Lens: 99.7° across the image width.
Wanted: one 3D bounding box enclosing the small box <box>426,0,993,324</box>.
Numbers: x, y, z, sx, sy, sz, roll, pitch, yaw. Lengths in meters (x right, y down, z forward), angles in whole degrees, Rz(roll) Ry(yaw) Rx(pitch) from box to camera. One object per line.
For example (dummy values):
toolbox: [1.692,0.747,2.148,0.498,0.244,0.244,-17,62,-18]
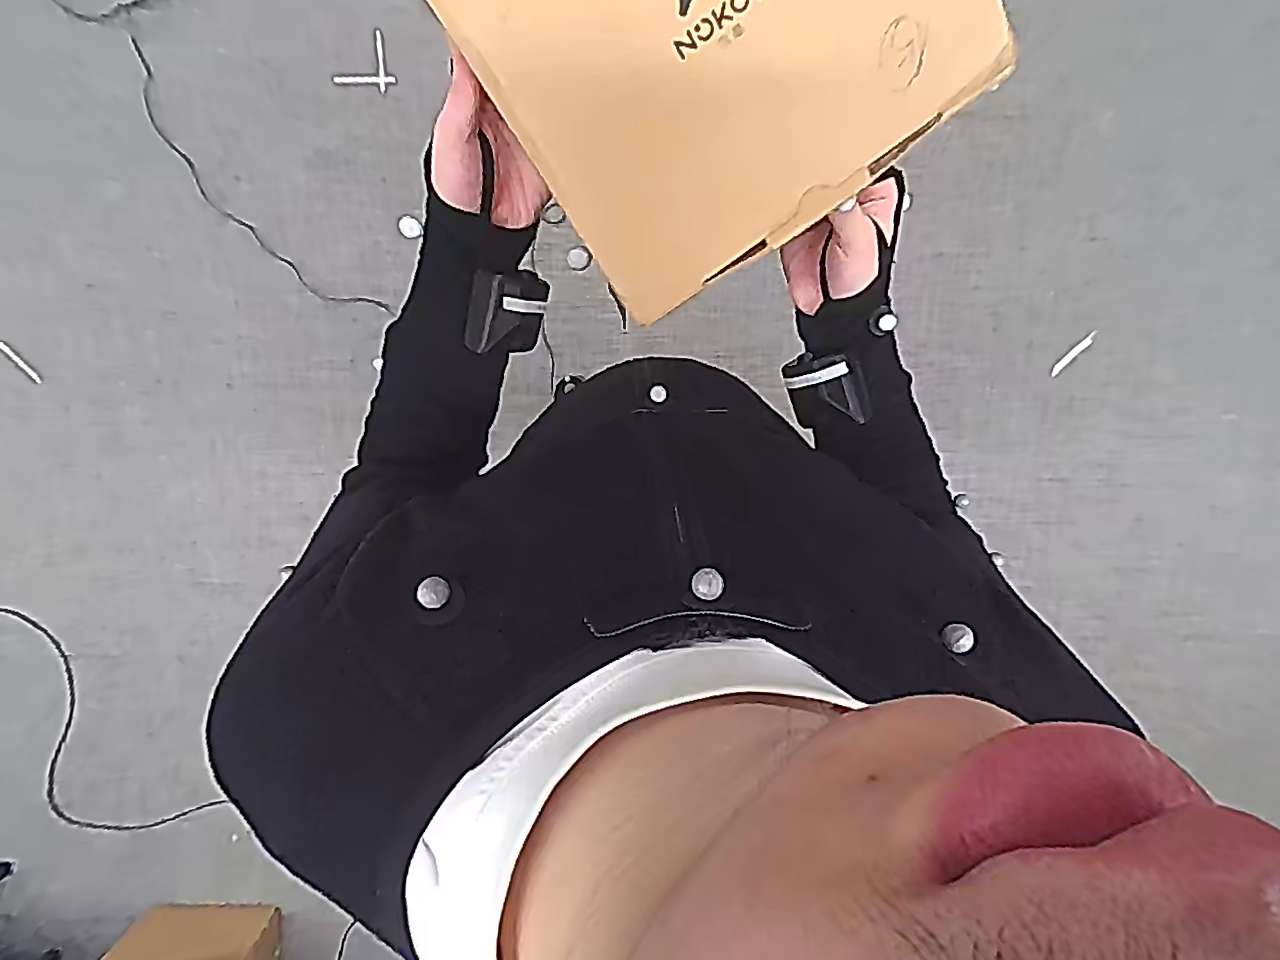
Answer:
small box: [0.020,-0.204,0.270,0.168,0.176,0.179,-34,106,11]
